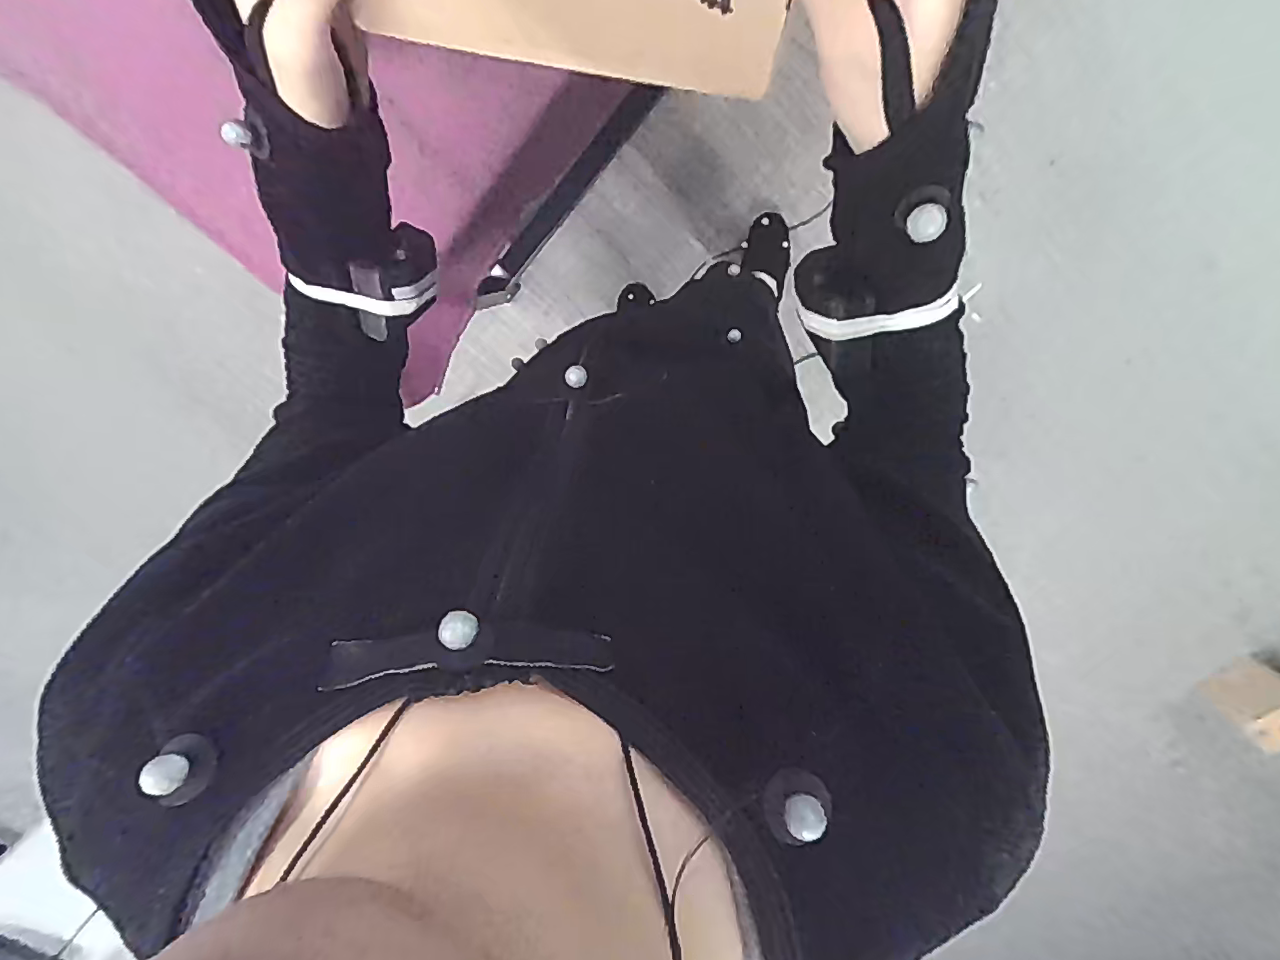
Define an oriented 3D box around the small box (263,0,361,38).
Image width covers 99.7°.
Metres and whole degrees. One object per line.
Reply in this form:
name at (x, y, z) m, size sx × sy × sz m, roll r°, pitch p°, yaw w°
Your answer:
small box at (-0.335, -0.562, 0.489) m, size 0.179 × 0.176 × 0.168 m, roll -33°, pitch 107°, yaw 15°
